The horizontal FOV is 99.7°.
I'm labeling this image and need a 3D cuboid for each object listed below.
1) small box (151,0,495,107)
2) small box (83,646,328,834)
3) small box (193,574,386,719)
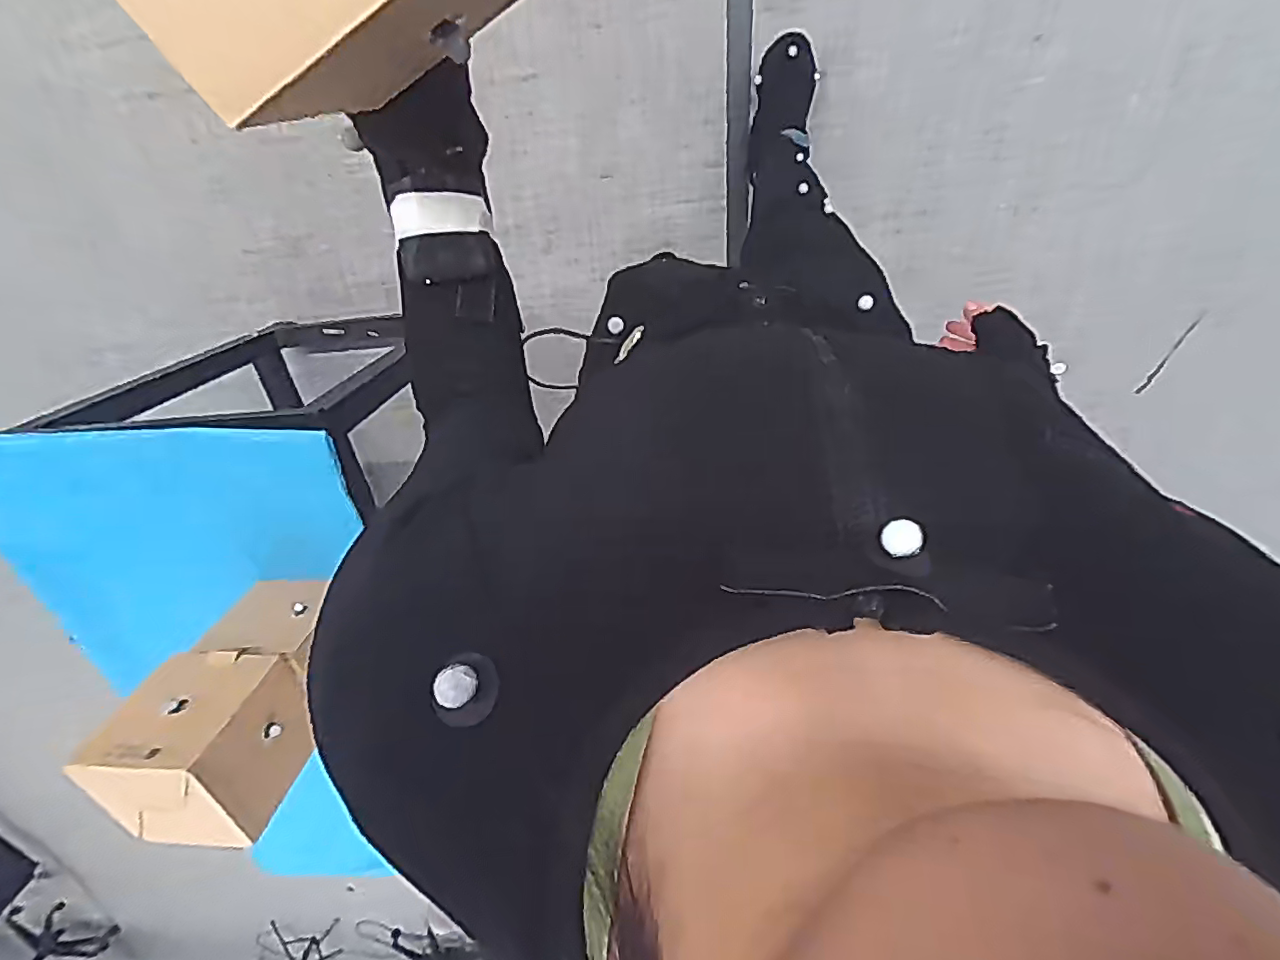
[{"bbox_3d":[-0.125,-0.281,0.203,0.168,0.176,0.179,-25,124,13],"label":"small box"},{"bbox_3d":[-0.574,0.349,0.731,0.168,0.176,0.179,0,123,7],"label":"small box"},{"bbox_3d":[-0.556,0.270,0.874,0.179,0.176,0.168,-3,120,6],"label":"small box"}]
